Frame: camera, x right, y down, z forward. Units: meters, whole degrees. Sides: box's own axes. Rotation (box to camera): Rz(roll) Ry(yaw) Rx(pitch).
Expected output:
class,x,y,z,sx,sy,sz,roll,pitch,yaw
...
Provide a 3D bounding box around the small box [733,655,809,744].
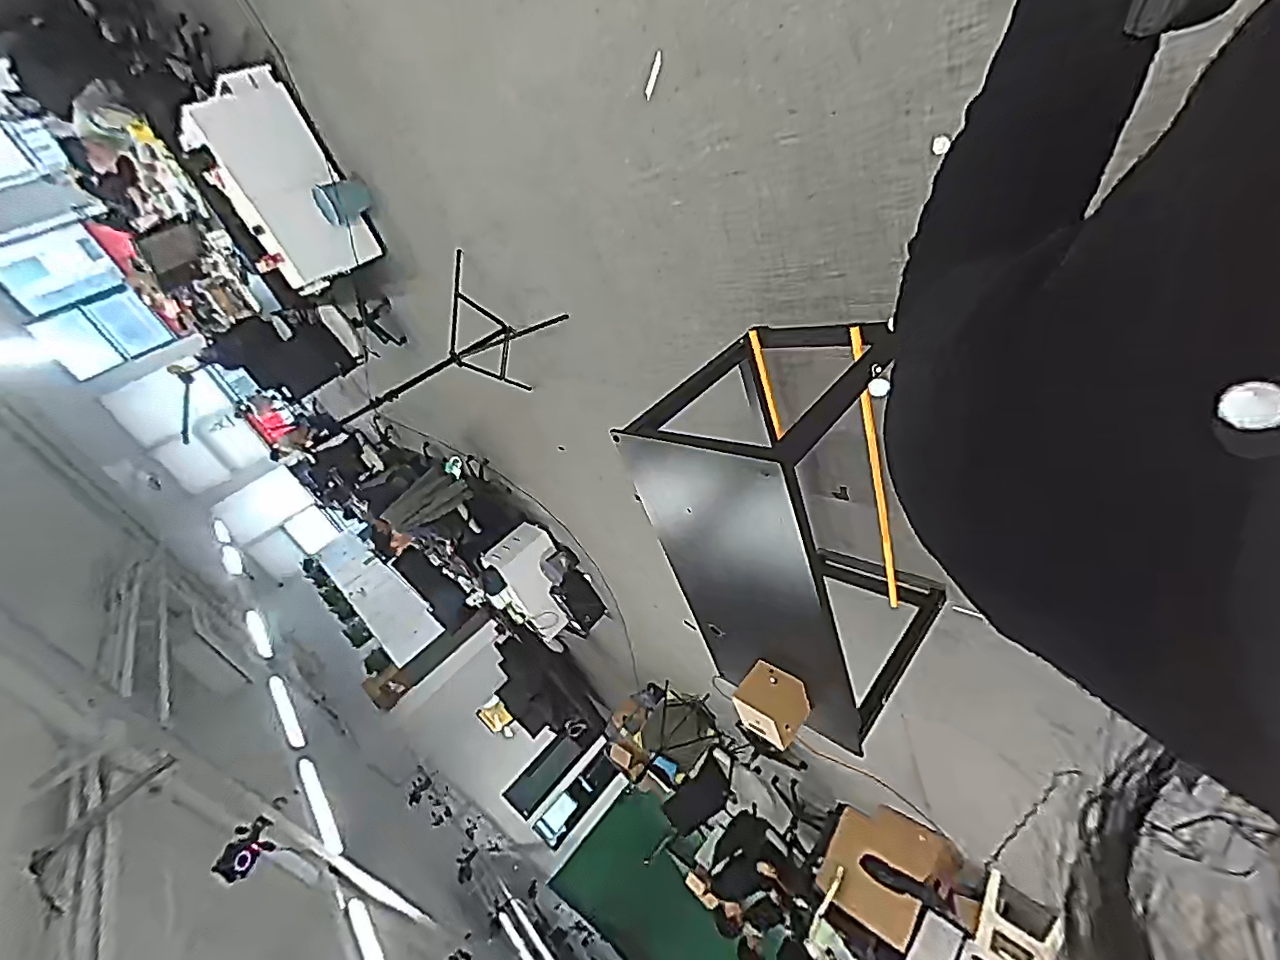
class,x,y,z,sx,sy,sz,roll,pitch,yaw
small box,0.440,0.724,1.796,0.168,0.176,0.179,16,138,47
